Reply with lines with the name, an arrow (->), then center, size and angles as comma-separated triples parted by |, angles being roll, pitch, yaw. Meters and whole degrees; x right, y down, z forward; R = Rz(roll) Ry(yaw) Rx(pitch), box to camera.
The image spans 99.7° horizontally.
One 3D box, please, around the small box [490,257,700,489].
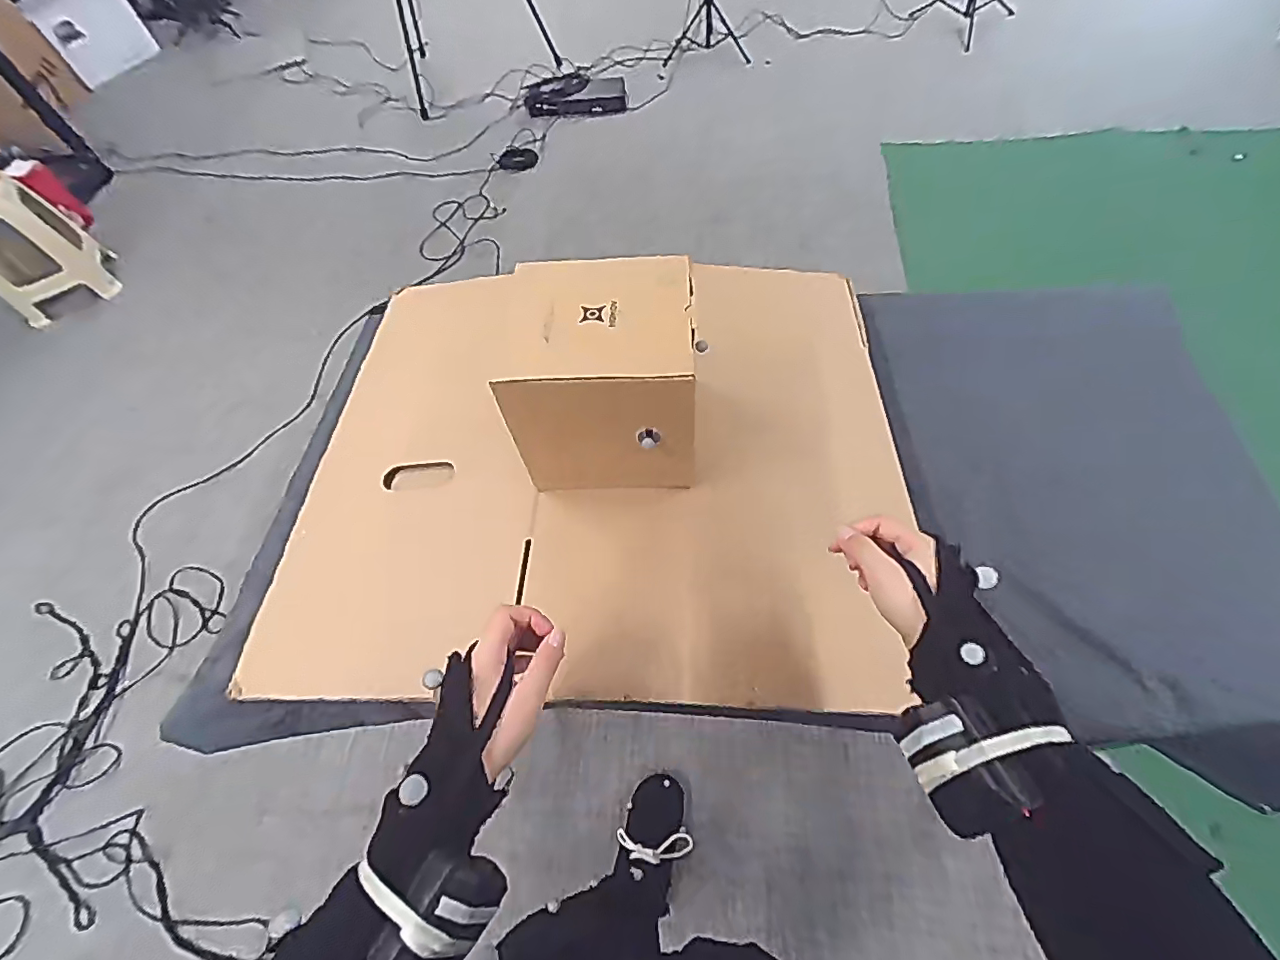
small box -> -0.031, -0.102, 0.554 | 0.179, 0.176, 0.168 | -2, 56, 5
